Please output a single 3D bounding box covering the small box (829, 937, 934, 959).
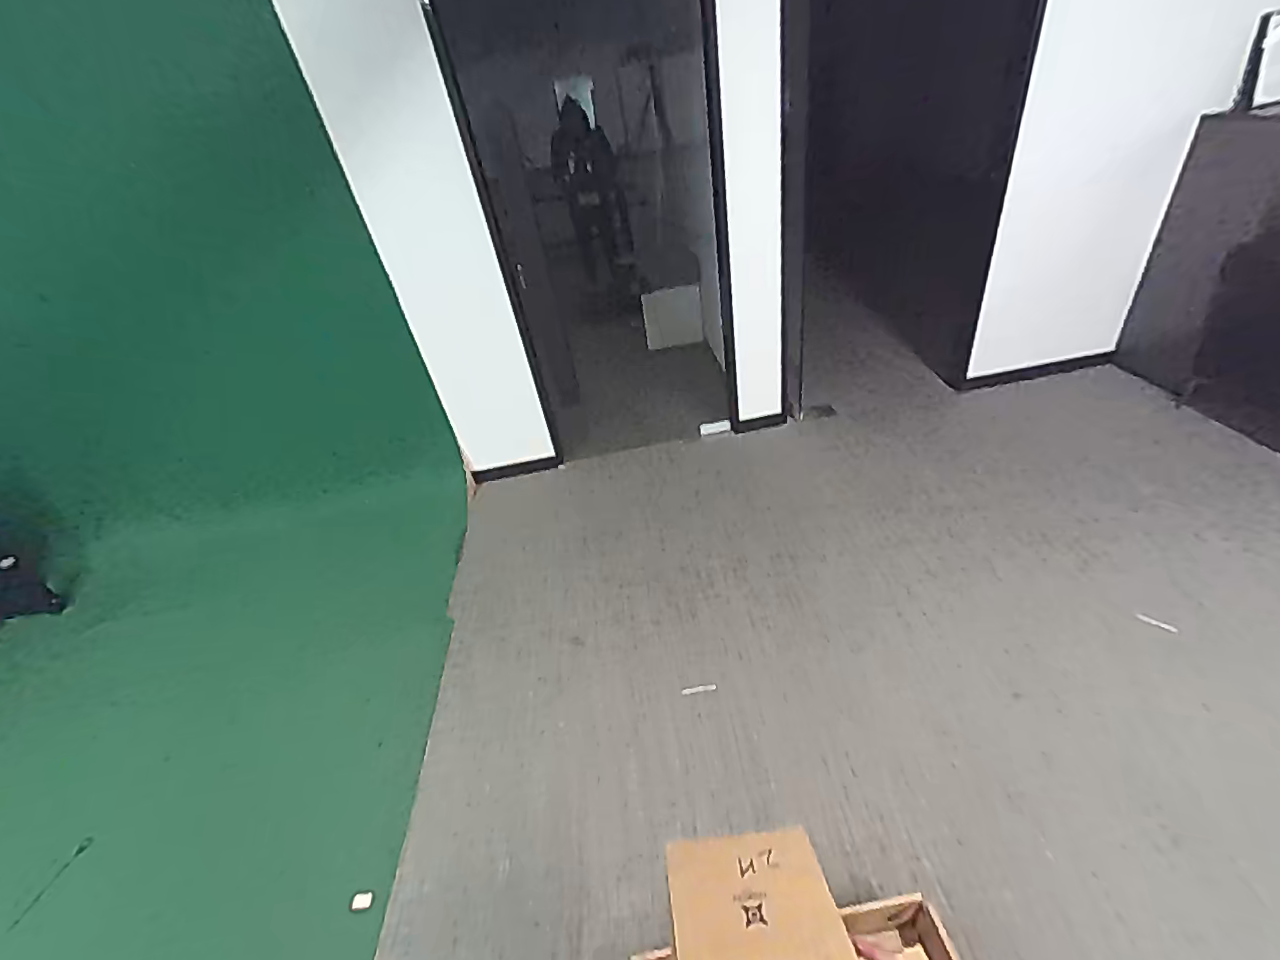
[{"bbox_3d":[0.408,0.875,0.857,0.168,0.176,0.179,-13,36,-1],"label":"small box"}]
